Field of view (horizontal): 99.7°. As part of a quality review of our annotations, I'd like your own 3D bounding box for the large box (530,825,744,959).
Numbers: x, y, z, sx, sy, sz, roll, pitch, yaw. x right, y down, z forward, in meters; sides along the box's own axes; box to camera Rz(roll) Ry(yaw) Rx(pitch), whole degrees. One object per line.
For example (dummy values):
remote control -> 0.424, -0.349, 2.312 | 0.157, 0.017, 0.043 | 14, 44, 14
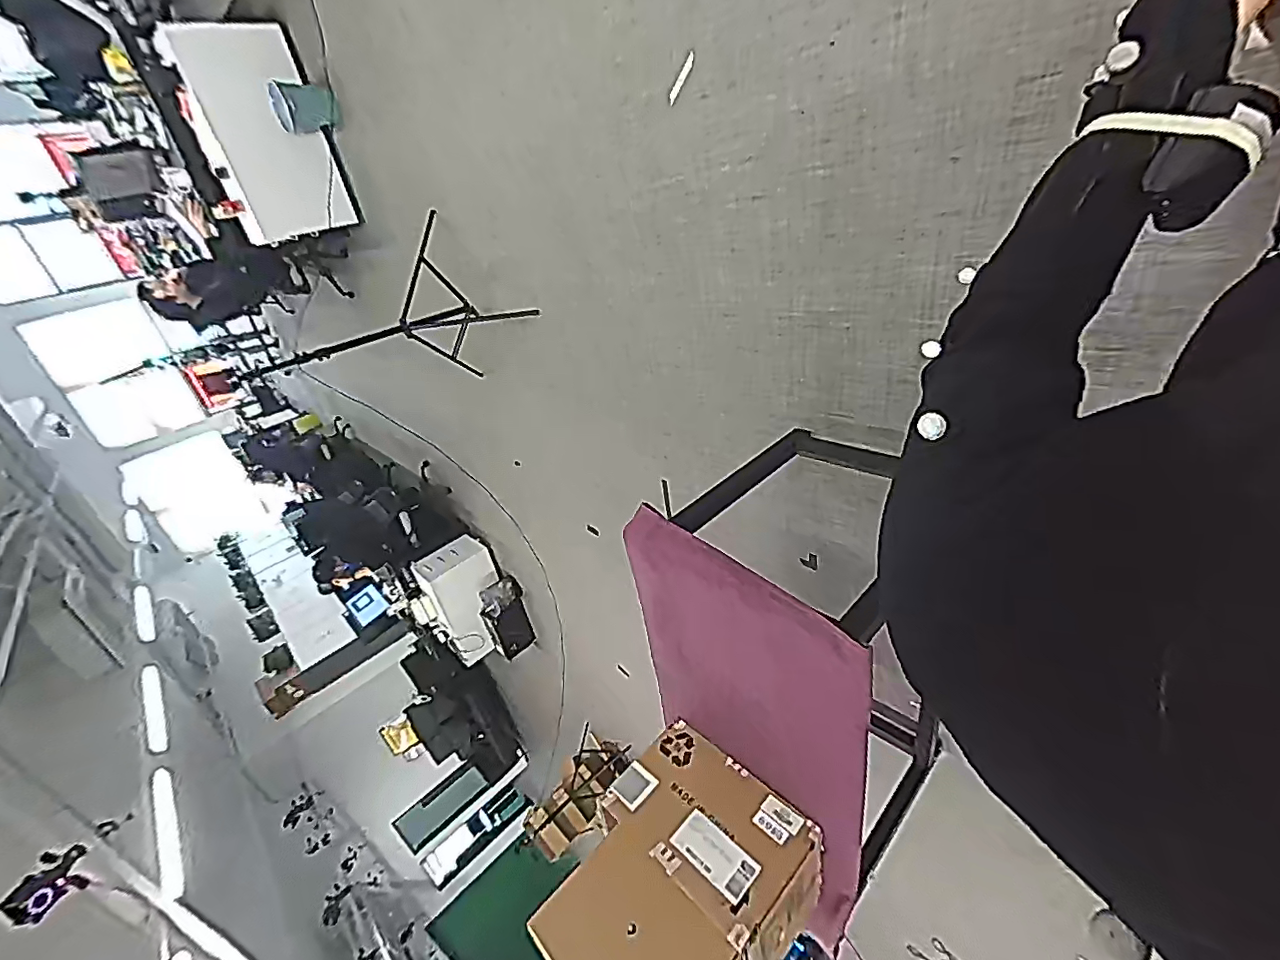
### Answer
large box -> 0.005, 1.151, 1.290 | 0.408, 0.320, 0.320 | 20, 133, 44
